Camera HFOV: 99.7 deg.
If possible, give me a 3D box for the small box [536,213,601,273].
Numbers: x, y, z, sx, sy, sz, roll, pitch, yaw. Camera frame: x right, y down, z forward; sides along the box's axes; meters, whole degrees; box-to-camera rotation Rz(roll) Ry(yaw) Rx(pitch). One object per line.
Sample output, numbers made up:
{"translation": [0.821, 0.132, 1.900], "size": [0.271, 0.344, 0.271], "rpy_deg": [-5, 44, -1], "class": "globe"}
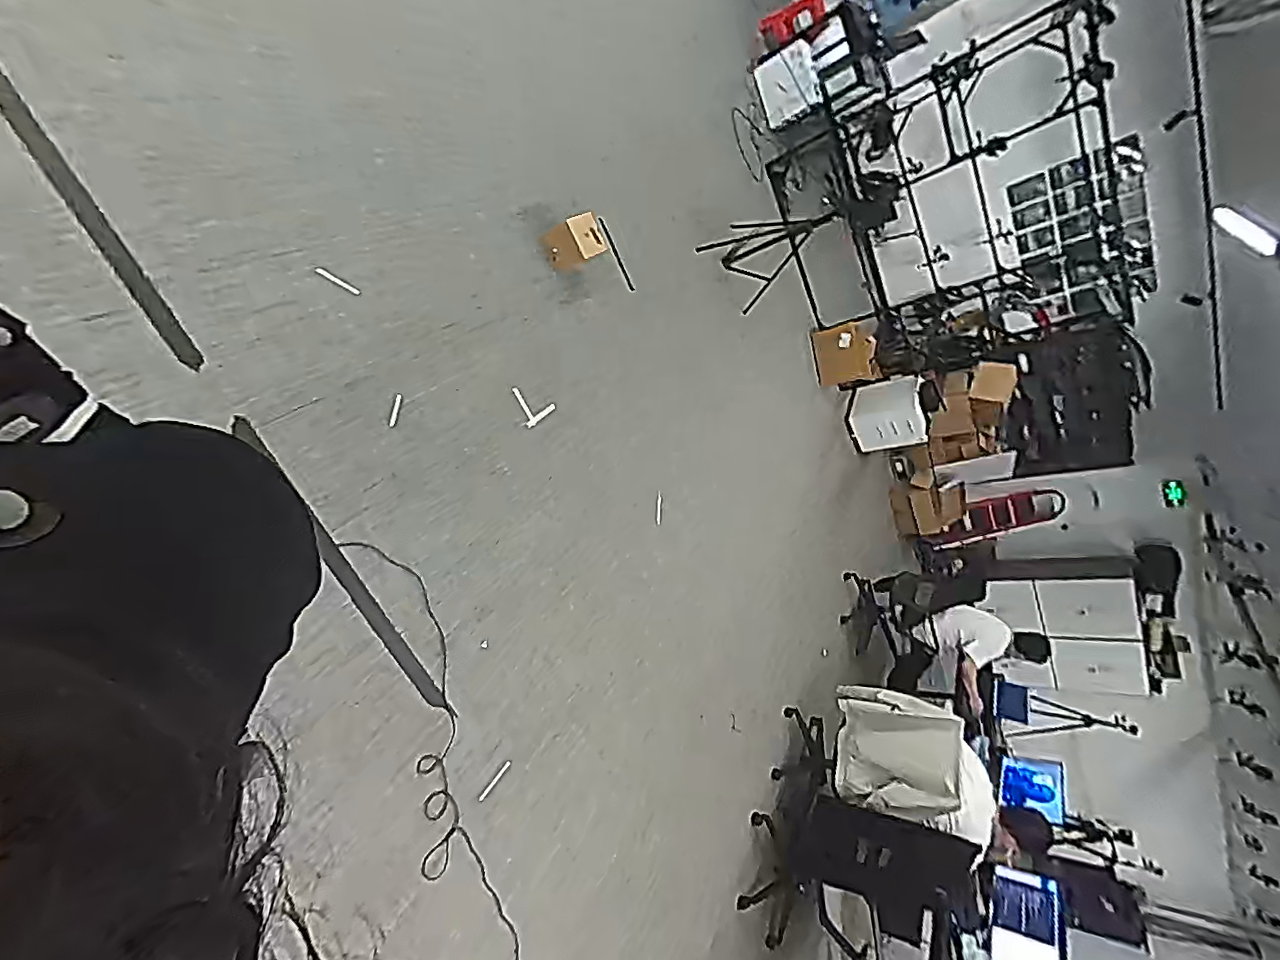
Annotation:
{"translation": [-0.301, -0.994, 2.269], "size": [0.179, 0.176, 0.168], "rpy_deg": [-46, 118, -45], "class": "small box"}
